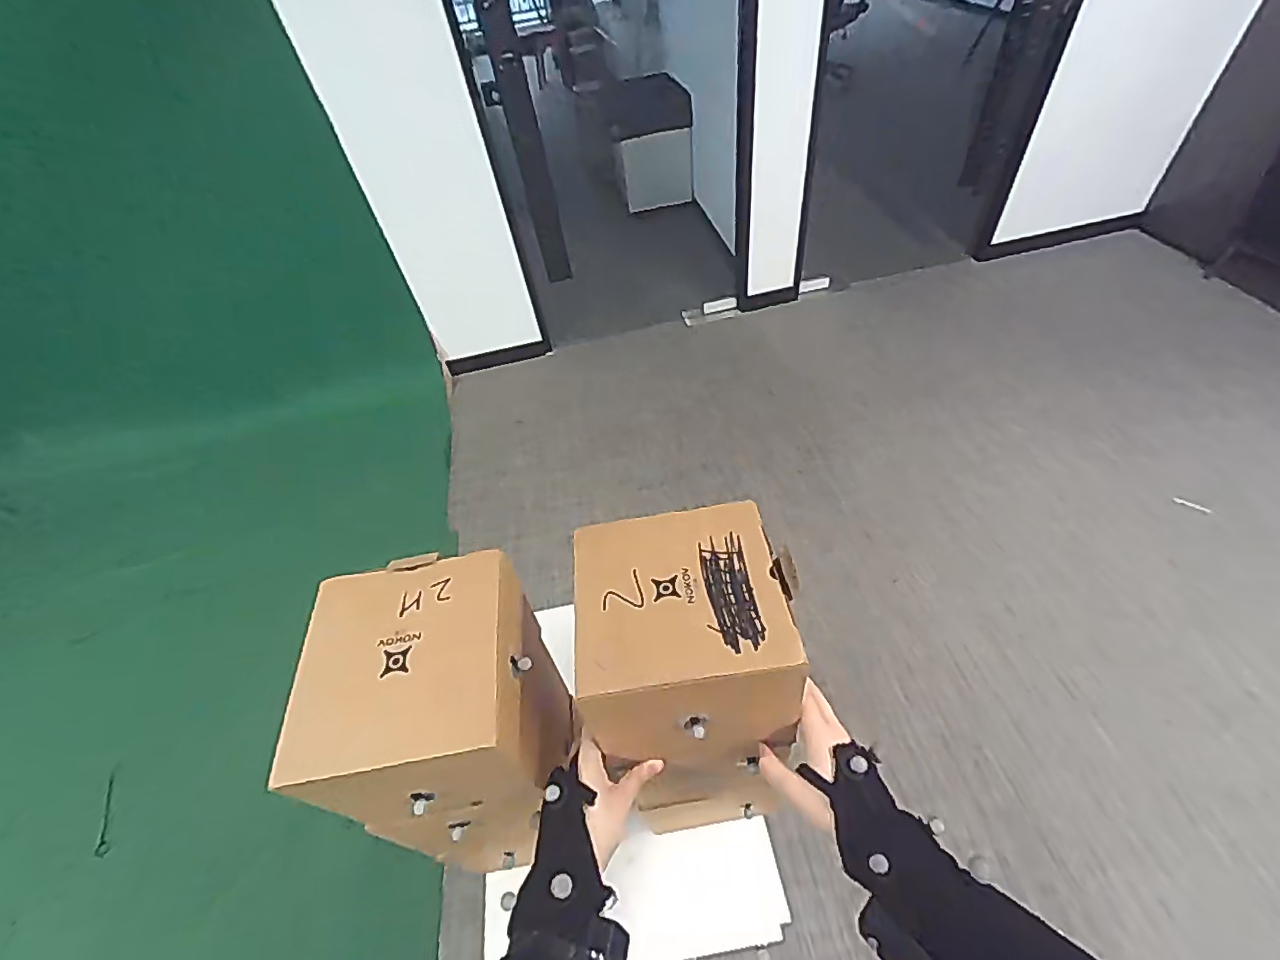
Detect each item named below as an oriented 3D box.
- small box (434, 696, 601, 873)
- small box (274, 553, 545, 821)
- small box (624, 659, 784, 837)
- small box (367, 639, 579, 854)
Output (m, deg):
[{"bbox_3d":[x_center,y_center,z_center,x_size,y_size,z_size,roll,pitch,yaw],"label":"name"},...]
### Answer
[{"bbox_3d":[-0.157,0.419,0.739,0.179,0.176,0.168,-9,49,-2],"label":"small box"},{"bbox_3d":[-0.185,0.196,0.498,0.168,0.176,0.179,-9,49,-3],"label":"small box"},{"bbox_3d":[0.084,0.372,0.746,0.179,0.176,0.168,-12,47,0],"label":"small box"},{"bbox_3d":[-0.175,0.307,0.618,0.179,0.176,0.168,-10,49,-2],"label":"small box"}]
